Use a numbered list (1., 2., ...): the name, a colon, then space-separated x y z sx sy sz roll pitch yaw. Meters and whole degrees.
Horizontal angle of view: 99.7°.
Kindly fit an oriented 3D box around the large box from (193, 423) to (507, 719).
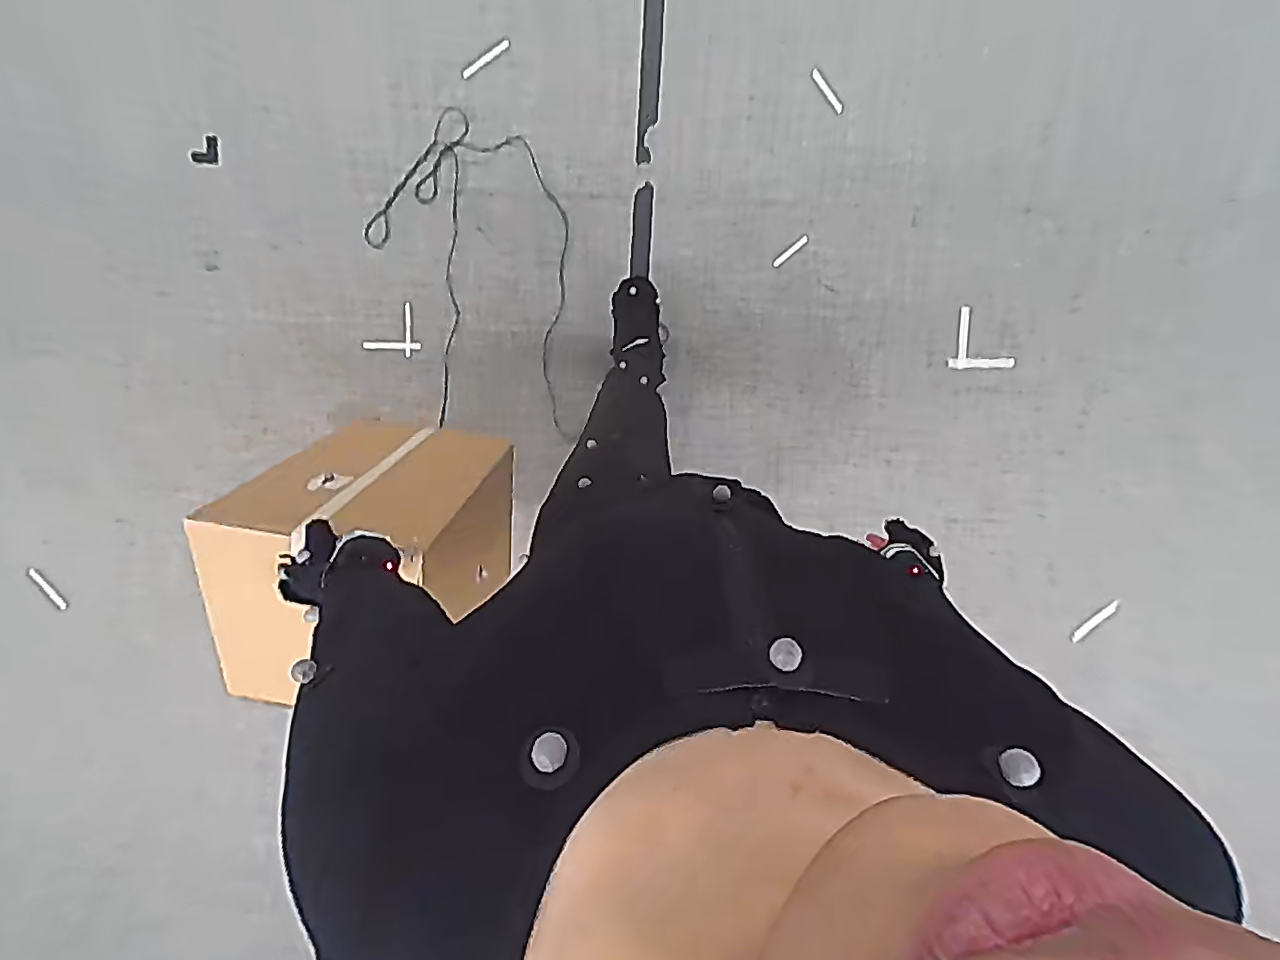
1. large box: -0.440 0.129 0.941 0.320 0.408 0.320 8 115 2
